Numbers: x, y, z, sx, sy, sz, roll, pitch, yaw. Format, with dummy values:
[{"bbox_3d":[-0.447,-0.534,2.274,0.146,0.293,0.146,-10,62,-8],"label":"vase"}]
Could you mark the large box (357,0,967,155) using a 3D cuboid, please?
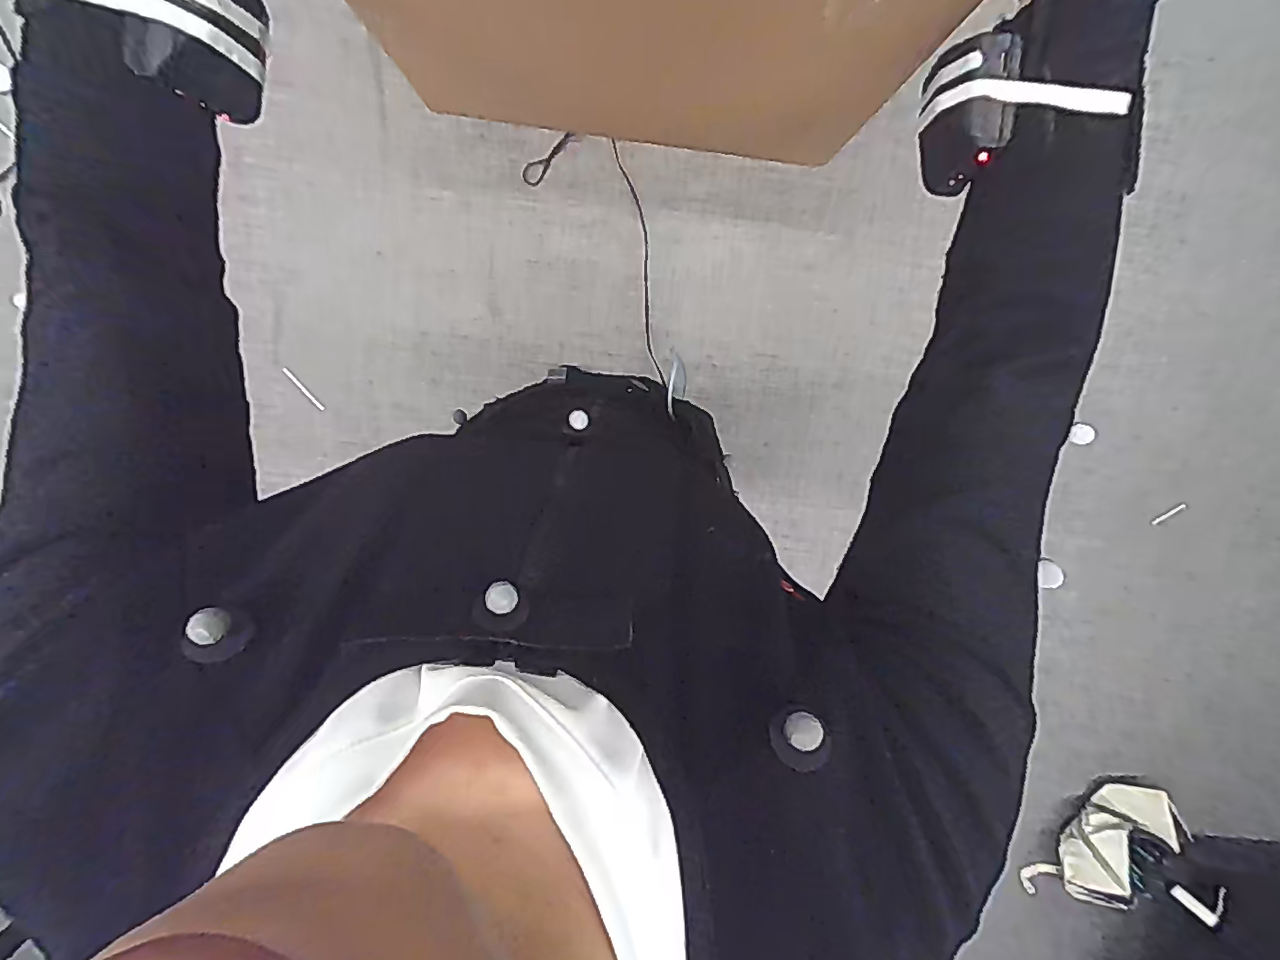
[{"bbox_3d":[0.011,-0.463,0.367,0.408,0.320,0.320,6,103,-3],"label":"large box"}]
